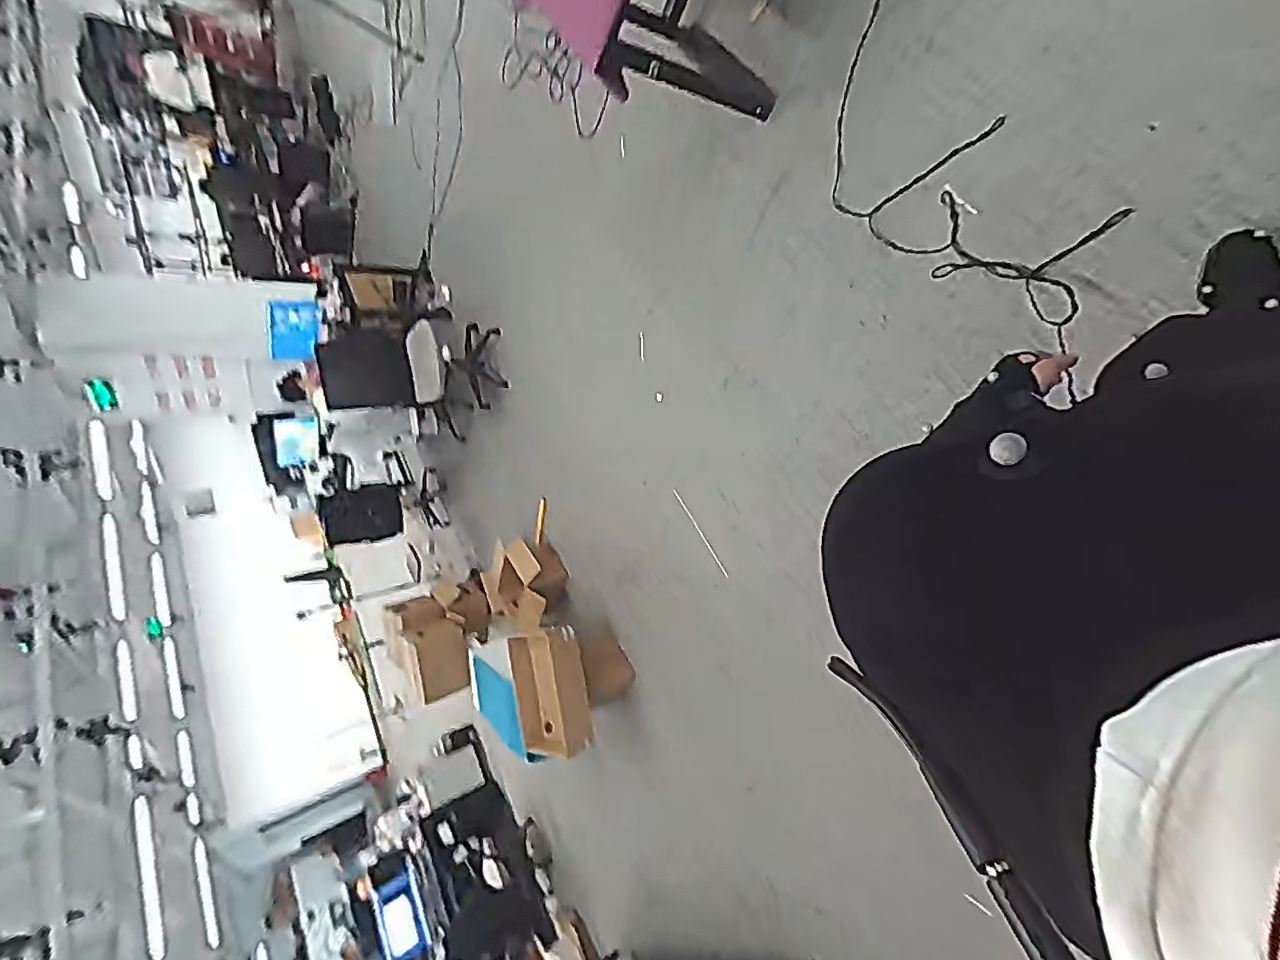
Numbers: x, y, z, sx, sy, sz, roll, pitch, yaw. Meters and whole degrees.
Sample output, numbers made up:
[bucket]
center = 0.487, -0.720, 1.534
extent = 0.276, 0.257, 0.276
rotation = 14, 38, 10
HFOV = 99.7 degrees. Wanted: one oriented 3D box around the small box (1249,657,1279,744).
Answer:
[small box]
center = 1.182, 0.396, 0.901
extent = 0.168, 0.176, 0.179
rotation = -40, 69, 50
